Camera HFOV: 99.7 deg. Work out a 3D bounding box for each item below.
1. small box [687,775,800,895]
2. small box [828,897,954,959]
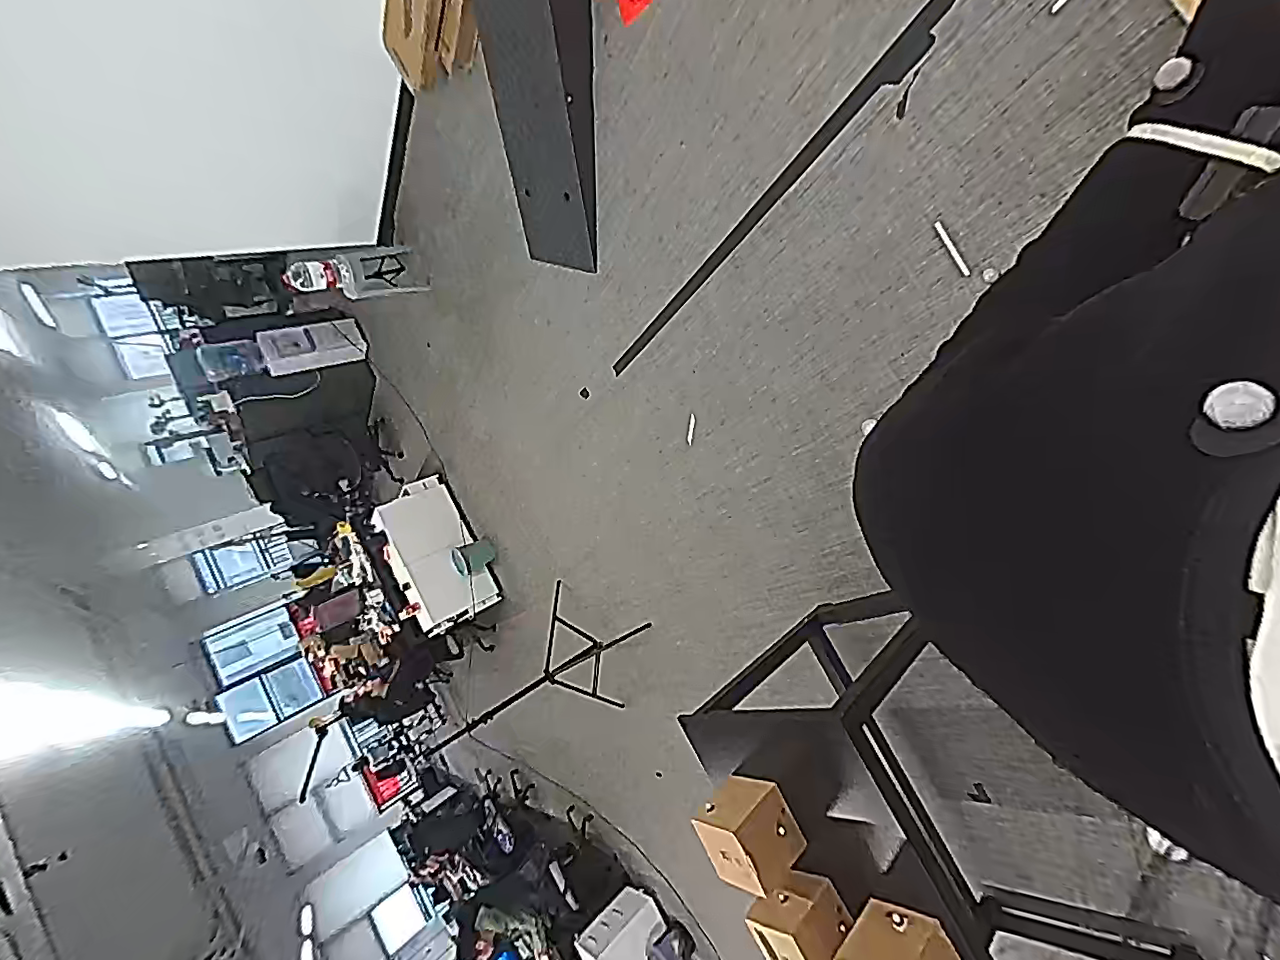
[{"bbox_3d":[0.255,0.859,1.329,0.179,0.176,0.168,-32,84,53],"label":"small box"},{"bbox_3d":[0.522,0.994,1.078,0.168,0.176,0.179,-37,79,52],"label":"small box"}]
